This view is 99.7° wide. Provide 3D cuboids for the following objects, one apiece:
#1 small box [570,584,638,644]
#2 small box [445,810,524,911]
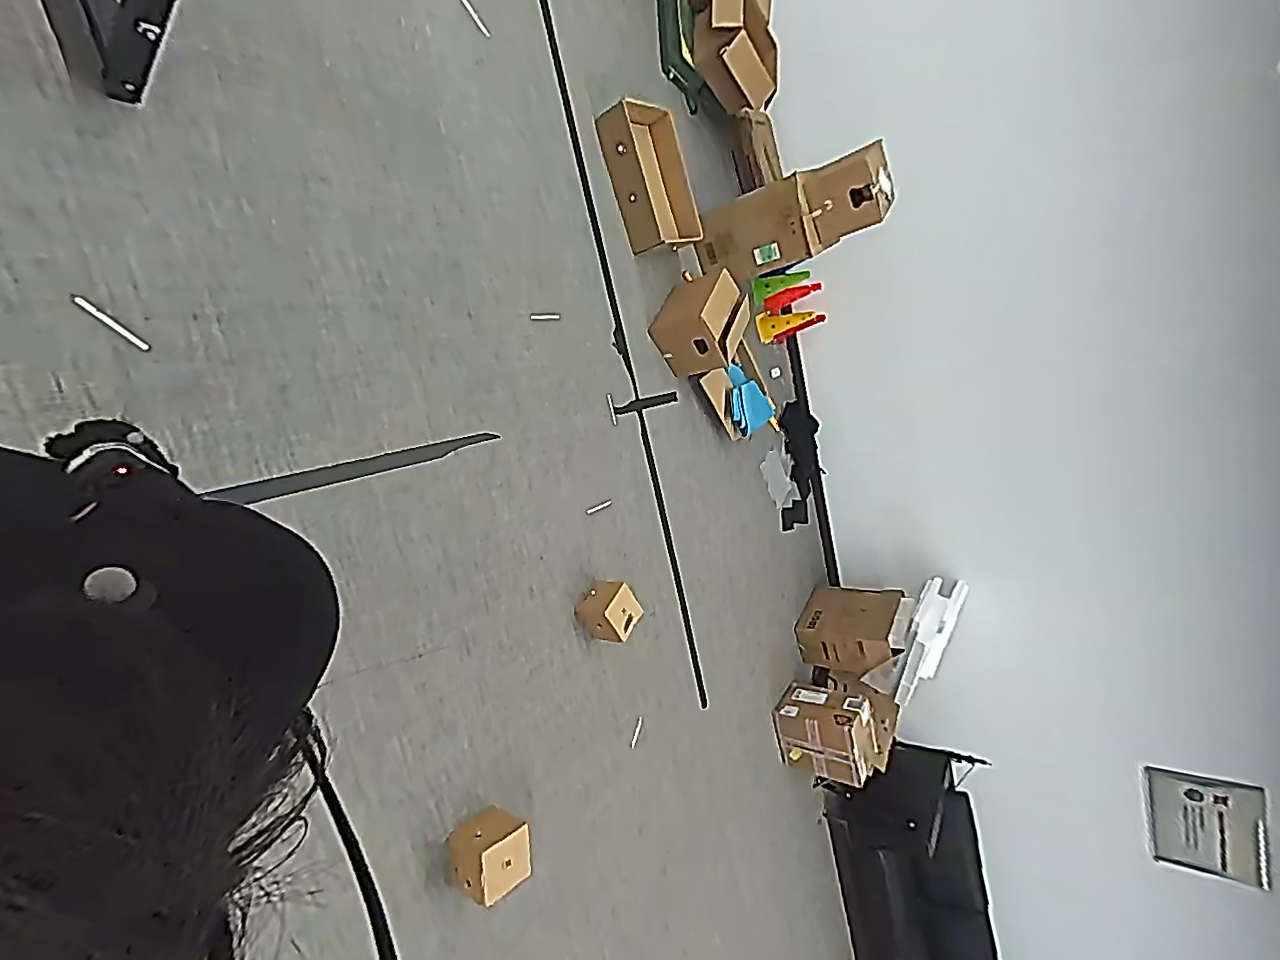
[{"bbox_3d":[-0.145,0.529,2.161,0.168,0.176,0.179,-53,125,-41],"label":"small box"},{"bbox_3d":[-0.484,1.163,1.667,0.179,0.176,0.168,-3,90,-53],"label":"small box"}]
